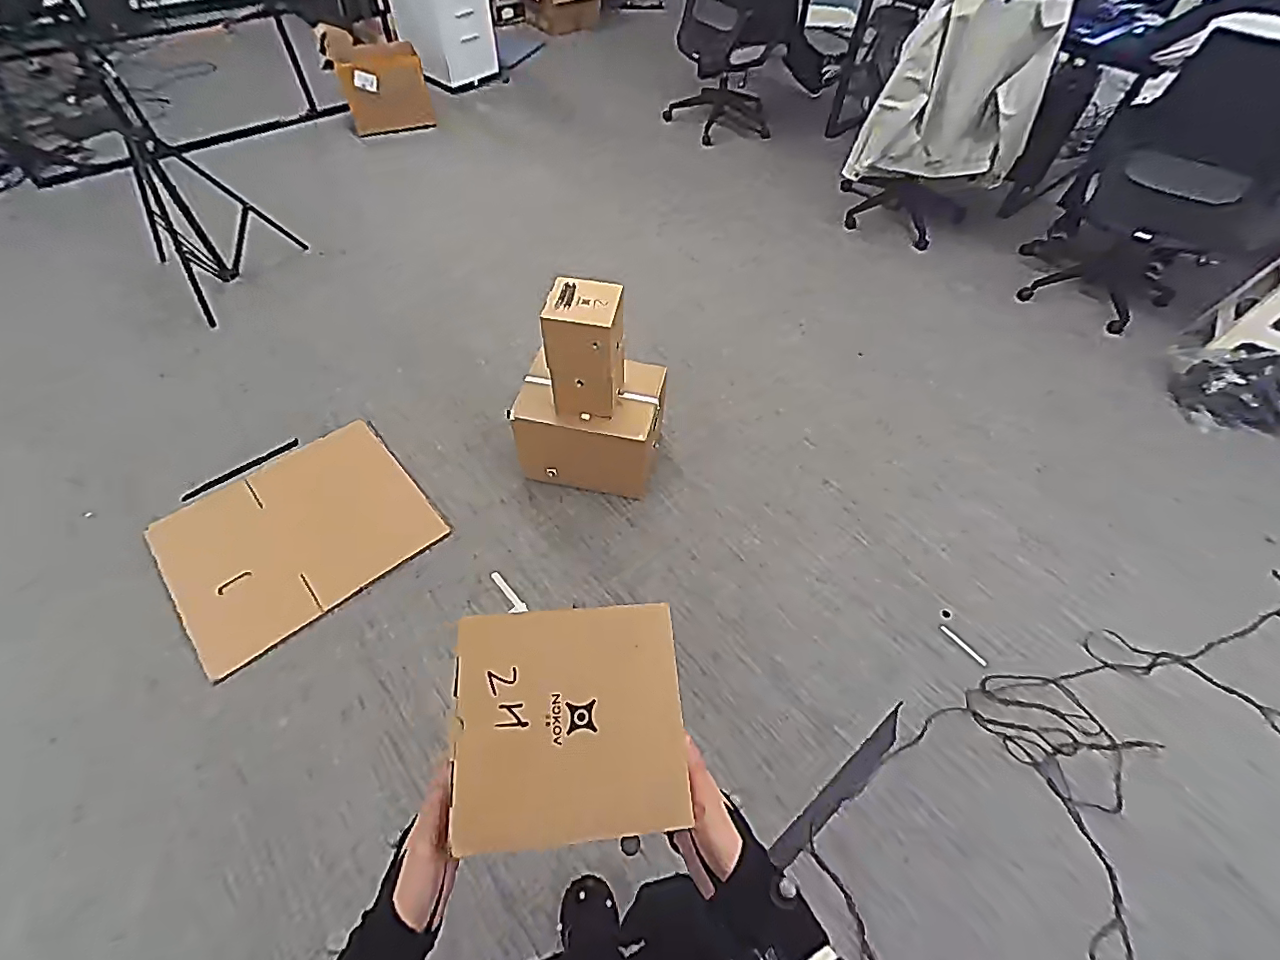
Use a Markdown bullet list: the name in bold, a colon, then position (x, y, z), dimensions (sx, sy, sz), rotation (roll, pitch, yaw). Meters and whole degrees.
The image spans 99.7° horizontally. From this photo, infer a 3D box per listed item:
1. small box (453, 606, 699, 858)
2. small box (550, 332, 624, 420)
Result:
- **small box**: position (-0.057, 0.215, 0.483), dimensions (0.179, 0.176, 0.168), rotation (-2, 64, -8)
- **small box**: position (-0.144, -0.291, 1.532), dimensions (0.179, 0.176, 0.168), rotation (9, 56, 3)
